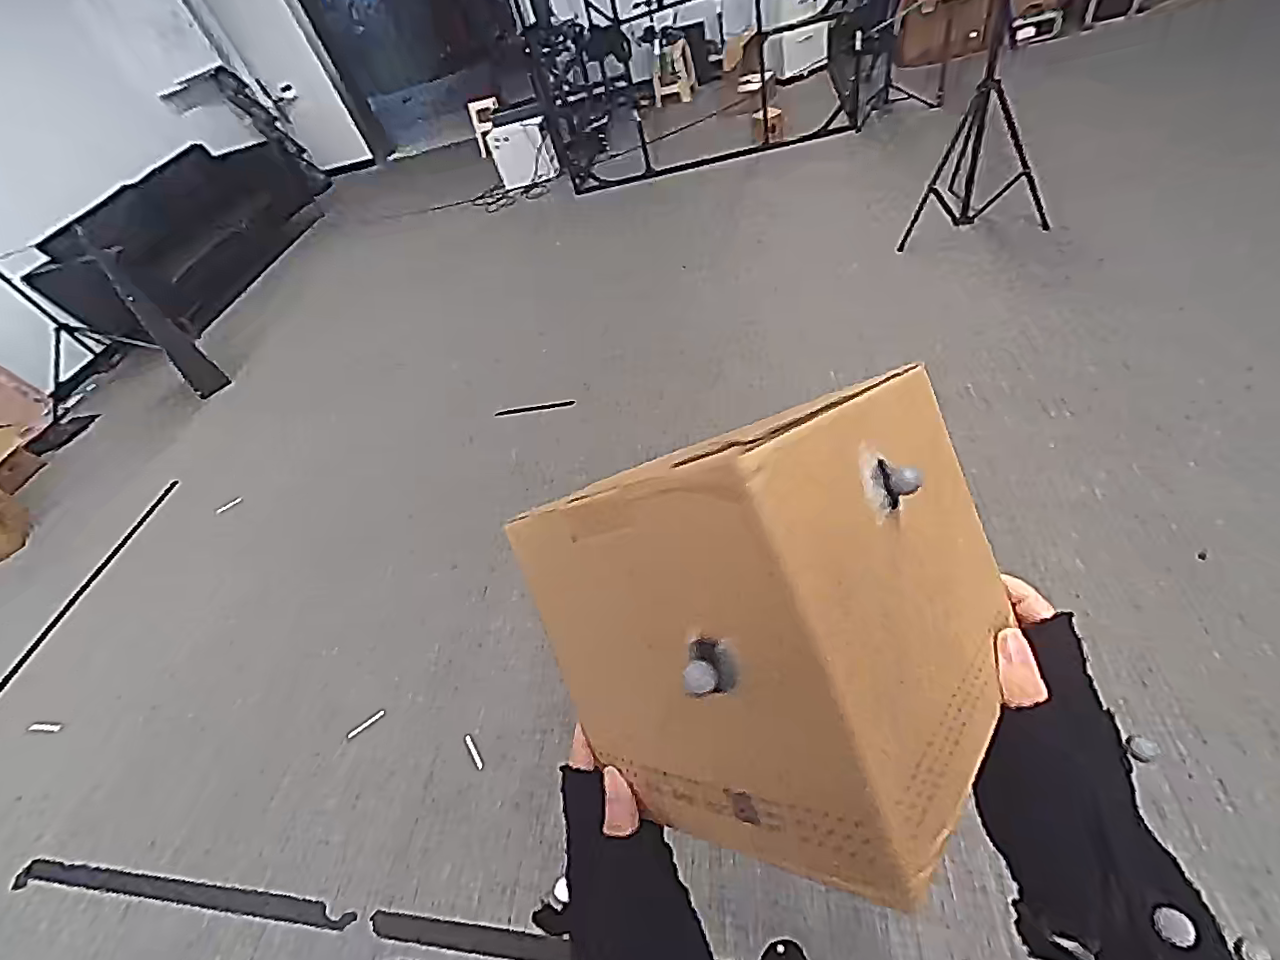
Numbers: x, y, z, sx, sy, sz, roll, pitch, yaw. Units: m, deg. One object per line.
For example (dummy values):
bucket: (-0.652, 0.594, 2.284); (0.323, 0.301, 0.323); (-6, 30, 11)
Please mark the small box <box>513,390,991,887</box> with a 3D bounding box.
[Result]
small box: (0.064, 0.071, 0.304); (0.179, 0.176, 0.168); (-23, 2, -40)
